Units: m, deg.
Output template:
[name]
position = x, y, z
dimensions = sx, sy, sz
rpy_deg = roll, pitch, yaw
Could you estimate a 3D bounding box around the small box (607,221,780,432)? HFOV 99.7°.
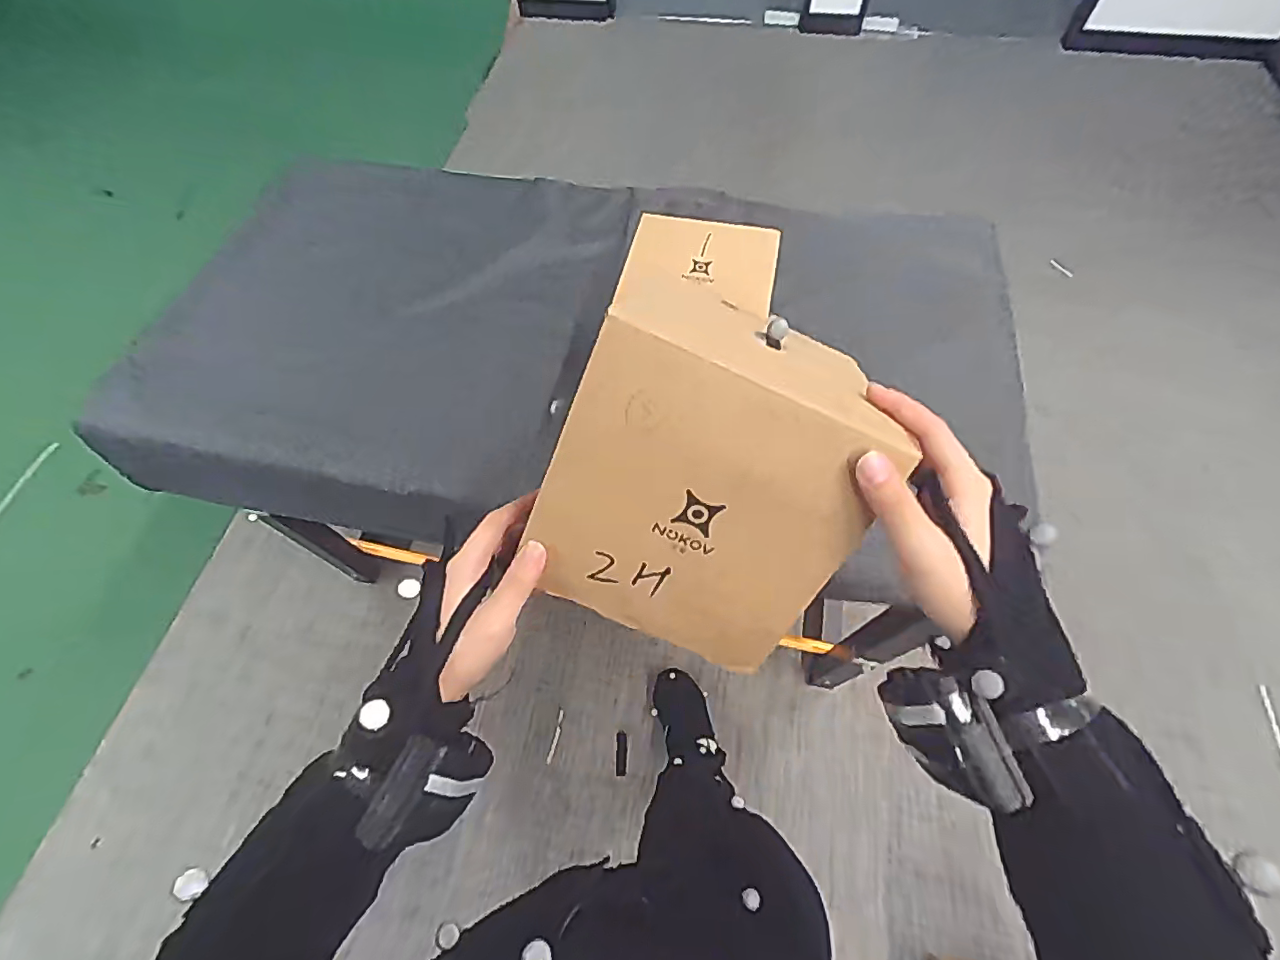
[small box]
position = 0.065, -0.181, 0.663
dimensions = 0.168, 0.176, 0.179
rpy_deg = 11, 61, 7
